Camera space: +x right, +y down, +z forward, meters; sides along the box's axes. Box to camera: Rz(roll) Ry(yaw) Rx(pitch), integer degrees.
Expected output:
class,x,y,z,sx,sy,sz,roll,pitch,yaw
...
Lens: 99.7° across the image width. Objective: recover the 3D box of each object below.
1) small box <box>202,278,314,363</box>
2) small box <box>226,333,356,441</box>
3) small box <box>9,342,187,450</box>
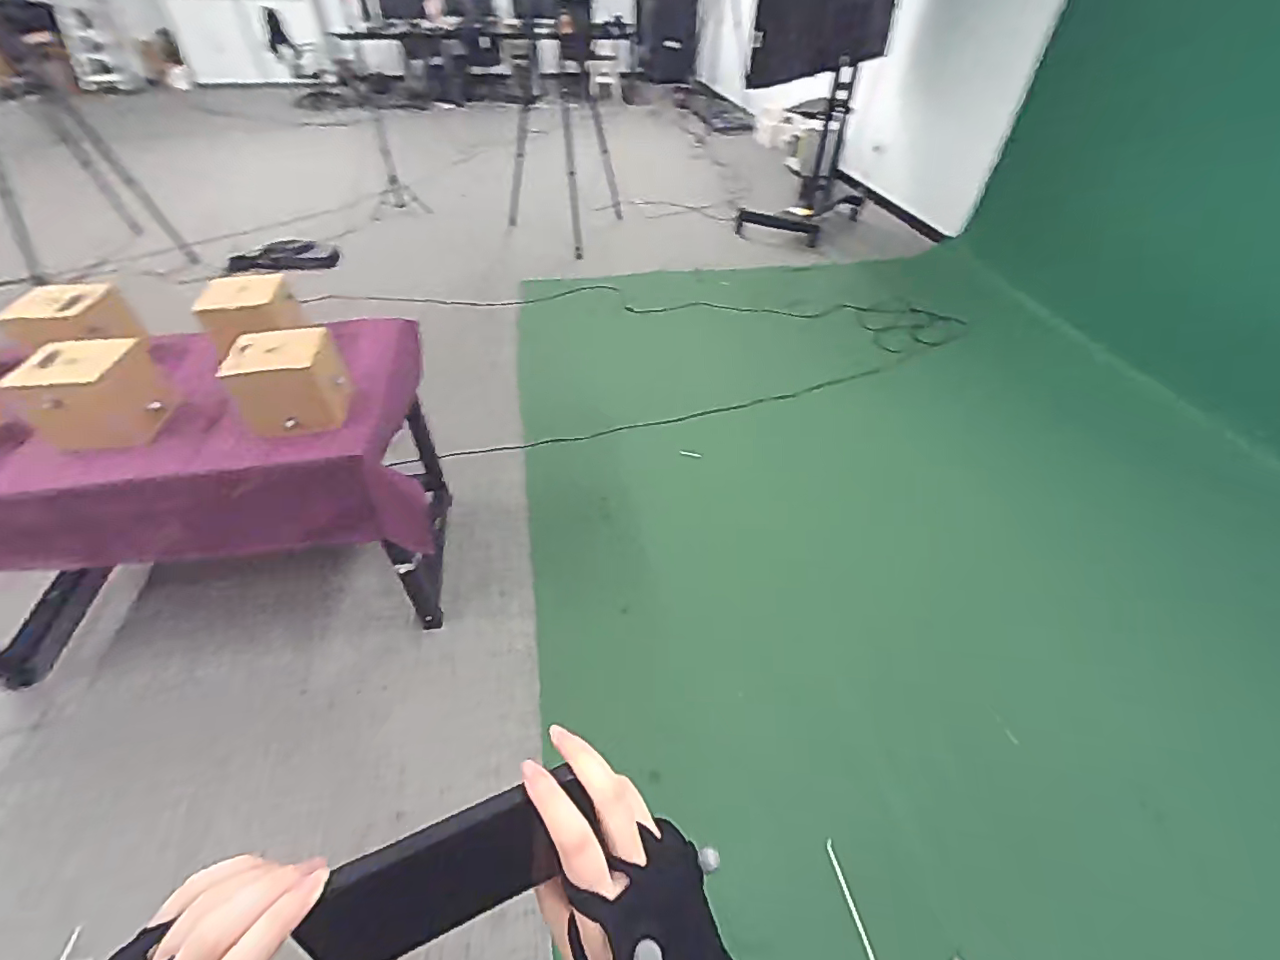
class,x,y,z,sx,sy,sz,roll,pitch,yaw
small box,-0.966,-0.398,1.391,0.168,0.176,0.179,-8,45,-9
small box,-0.755,-0.205,1.197,0.179,0.176,0.168,-7,44,-9
small box,-1.143,-0.177,1.160,0.179,0.176,0.168,-3,44,-6
